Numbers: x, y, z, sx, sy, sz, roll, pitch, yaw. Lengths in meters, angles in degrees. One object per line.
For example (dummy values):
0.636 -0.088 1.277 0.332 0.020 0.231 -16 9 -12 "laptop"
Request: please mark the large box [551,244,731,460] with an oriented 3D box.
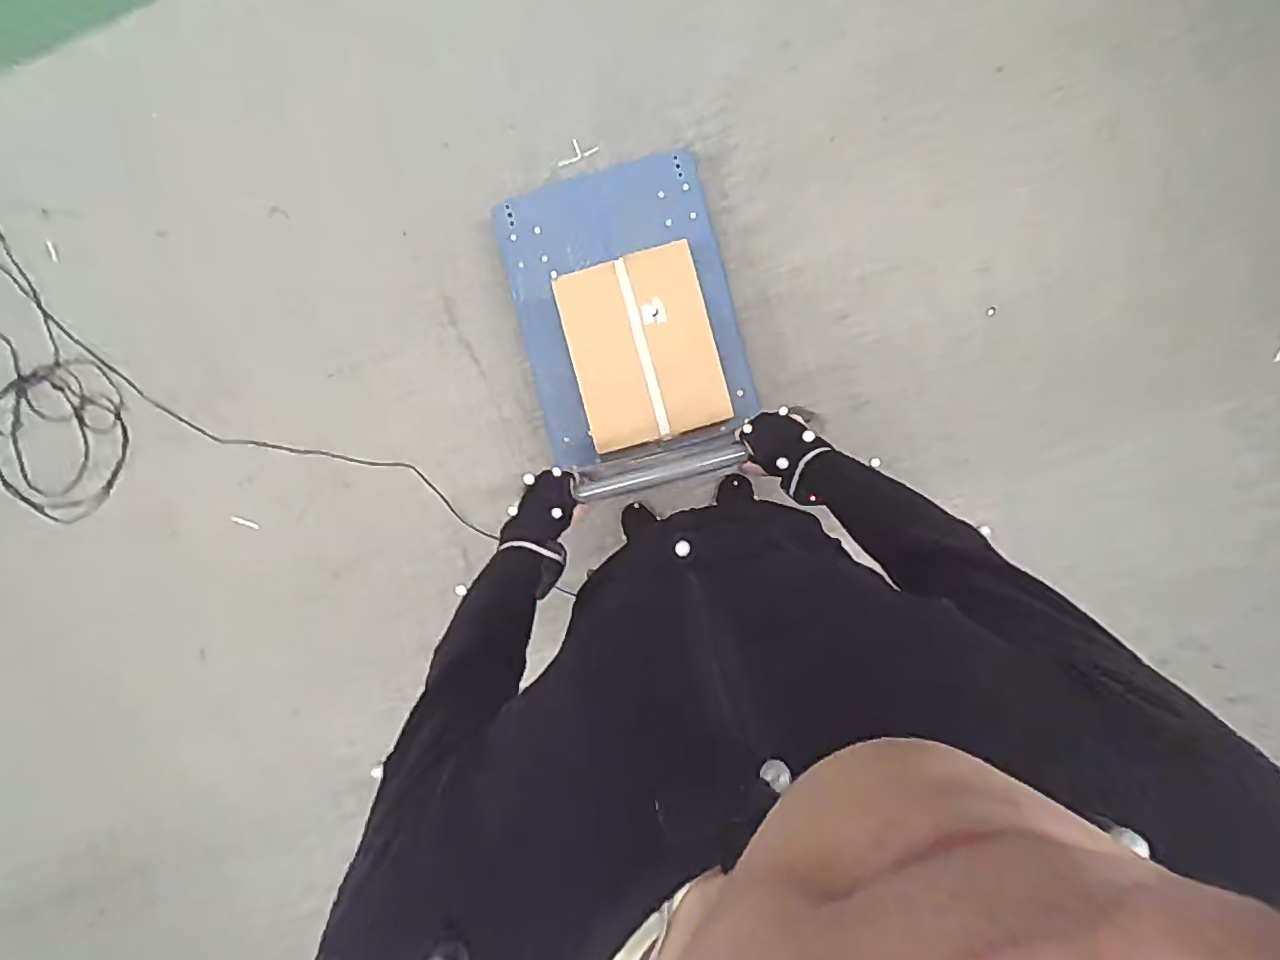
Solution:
0.011 -0.287 1.339 0.320 0.320 0.408 -15 88 3 "large box"
